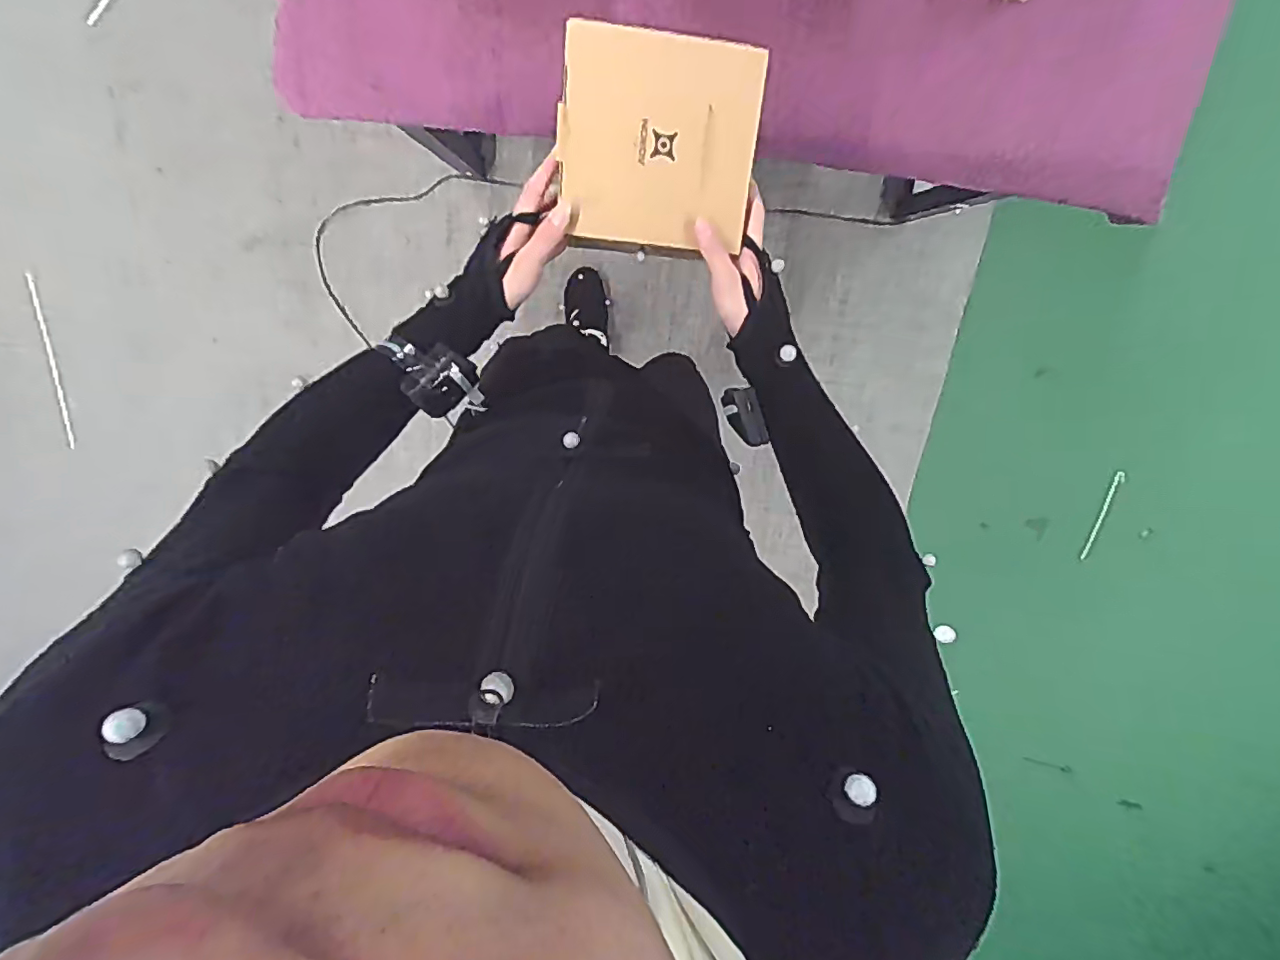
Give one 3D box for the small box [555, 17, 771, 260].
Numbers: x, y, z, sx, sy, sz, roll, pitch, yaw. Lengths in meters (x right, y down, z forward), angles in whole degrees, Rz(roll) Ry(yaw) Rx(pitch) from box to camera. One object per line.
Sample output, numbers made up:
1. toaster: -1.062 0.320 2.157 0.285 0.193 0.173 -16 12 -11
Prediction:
1. small box: 0.012 -0.324 0.553 0.179 0.176 0.168 4 109 -6
